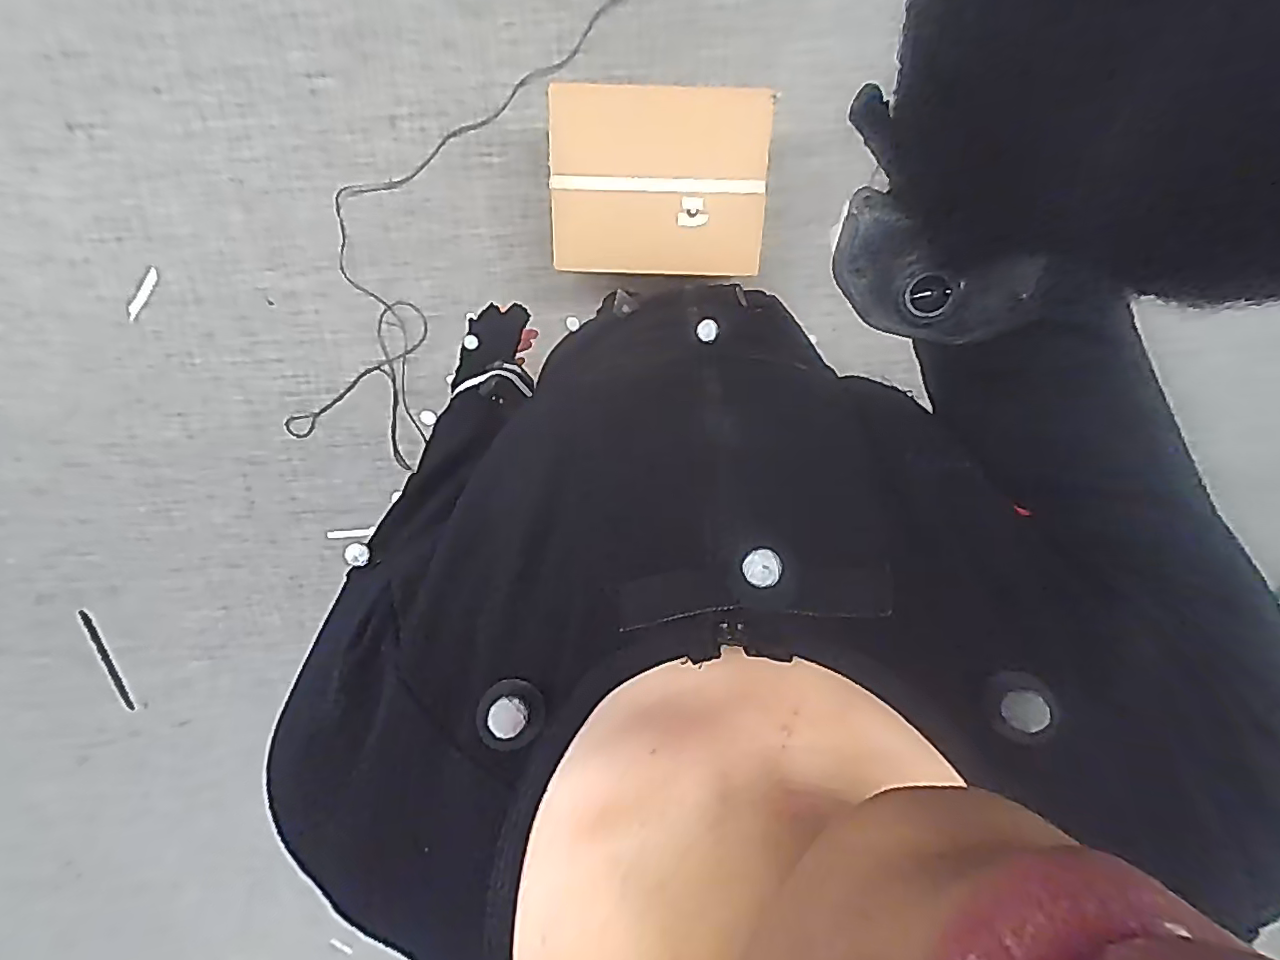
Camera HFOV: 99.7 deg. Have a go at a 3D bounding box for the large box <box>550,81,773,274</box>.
[{"bbox_3d":[0.035,-0.608,1.146,0.408,0.320,0.320,1,110,-1],"label":"large box"}]
